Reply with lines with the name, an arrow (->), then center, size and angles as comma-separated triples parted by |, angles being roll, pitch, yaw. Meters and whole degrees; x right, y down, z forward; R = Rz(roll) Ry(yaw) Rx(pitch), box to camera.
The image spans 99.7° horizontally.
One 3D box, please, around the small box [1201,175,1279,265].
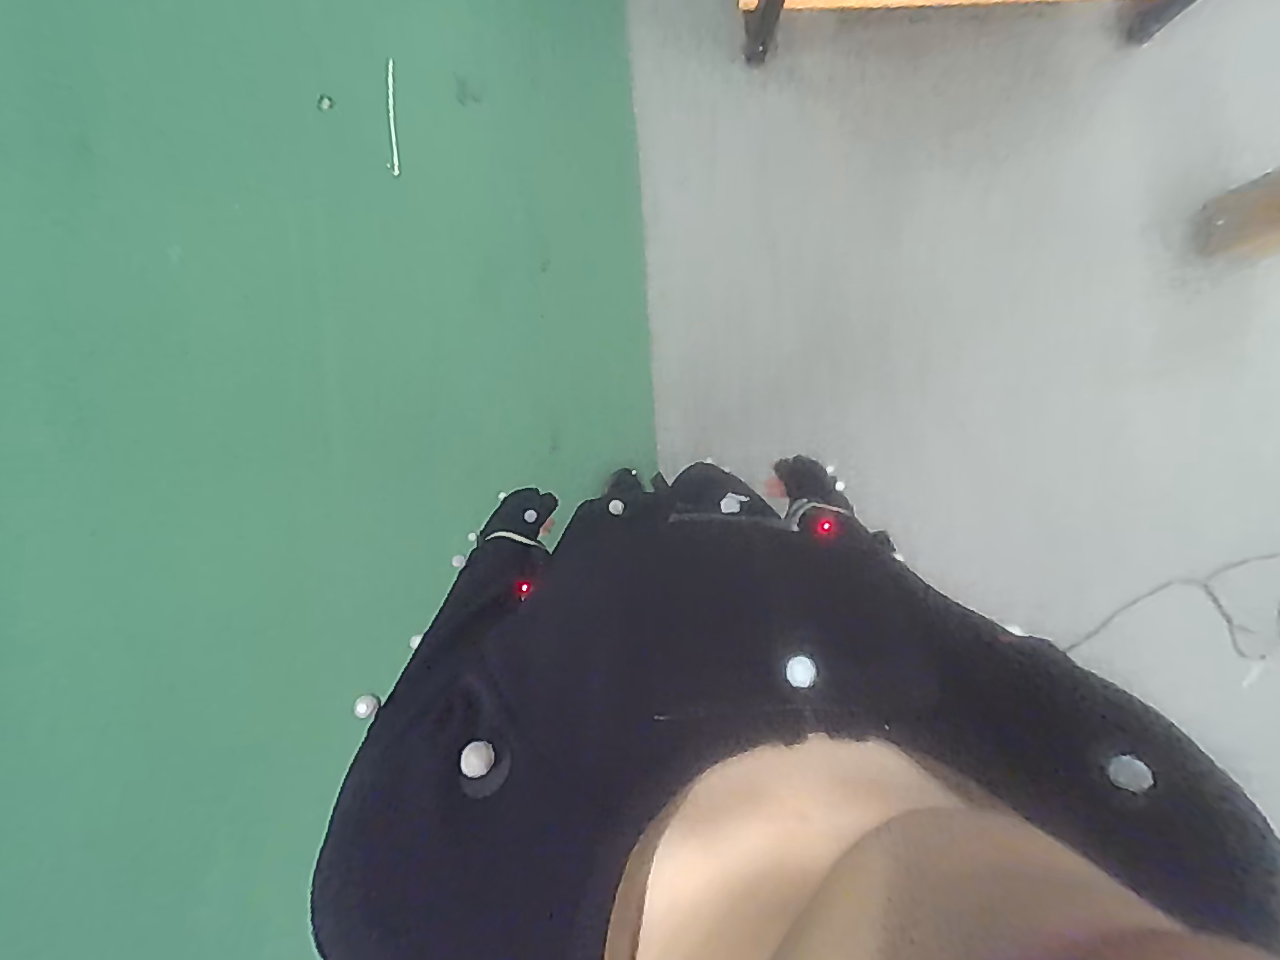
small box -> 1.718, -0.708, 1.486 | 0.179, 0.176, 0.168 | 1, 89, -2
